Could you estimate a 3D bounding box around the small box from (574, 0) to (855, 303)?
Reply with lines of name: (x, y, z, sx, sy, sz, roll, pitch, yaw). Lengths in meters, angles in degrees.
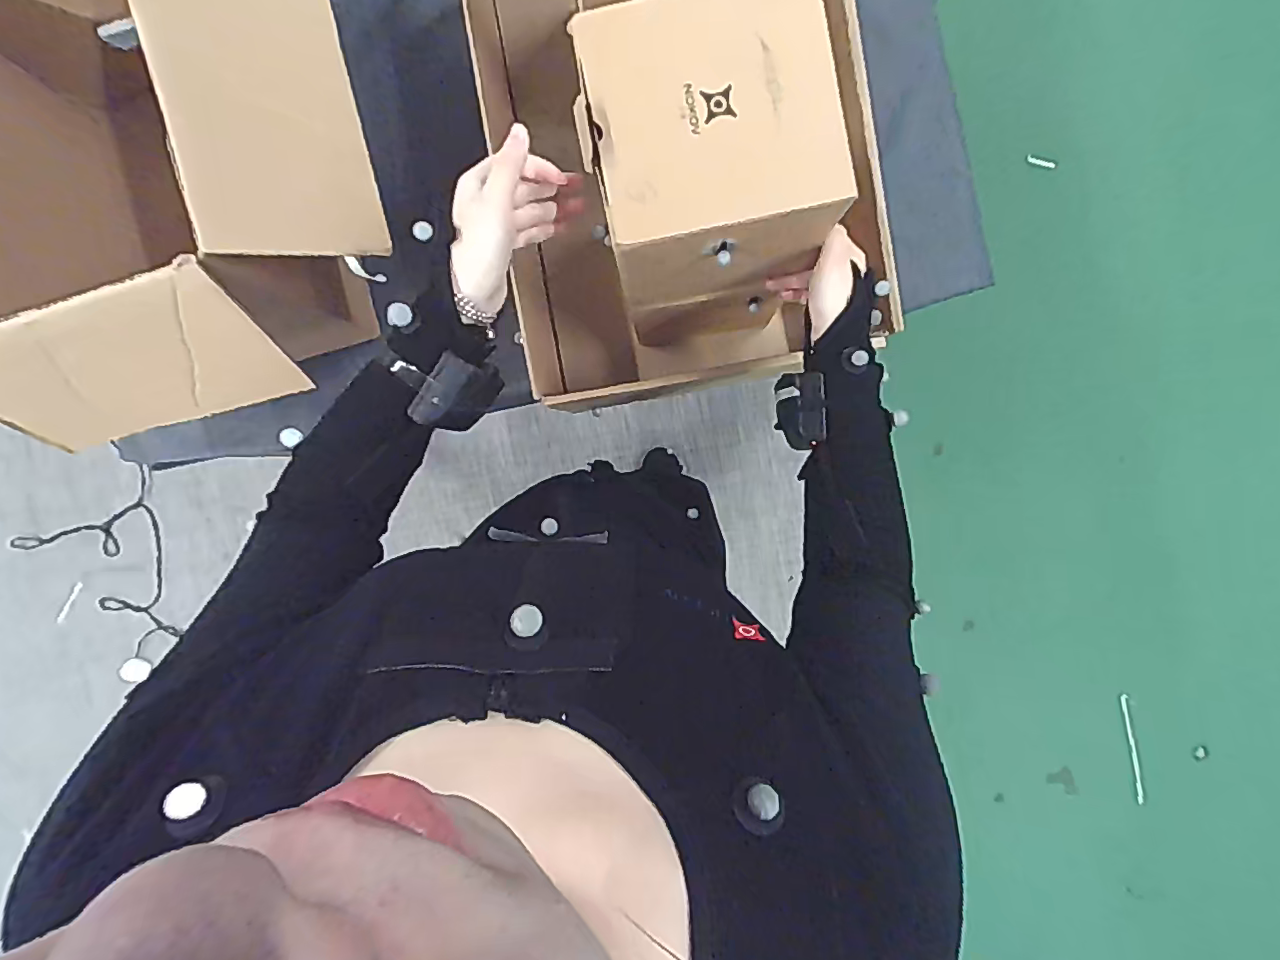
small box: (0.055, -0.265, 0.460, 0.179, 0.176, 0.168, -11, 93, 2)
